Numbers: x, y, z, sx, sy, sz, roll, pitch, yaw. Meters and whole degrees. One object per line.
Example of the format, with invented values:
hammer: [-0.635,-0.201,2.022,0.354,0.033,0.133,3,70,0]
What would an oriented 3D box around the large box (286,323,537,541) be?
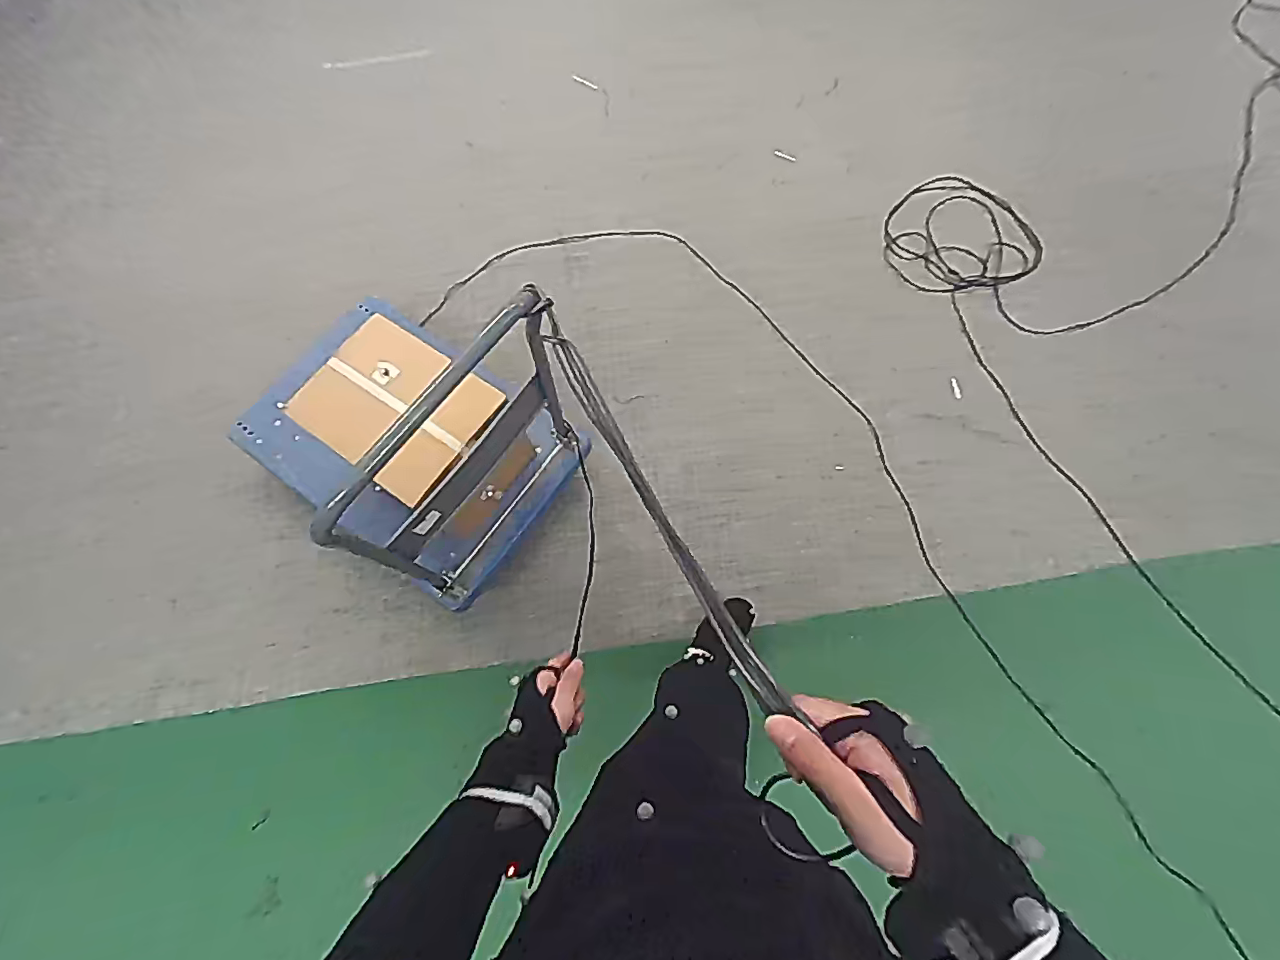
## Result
large box: [-0.529,-0.103,1.328,0.408,0.320,0.320,32,74,14]
